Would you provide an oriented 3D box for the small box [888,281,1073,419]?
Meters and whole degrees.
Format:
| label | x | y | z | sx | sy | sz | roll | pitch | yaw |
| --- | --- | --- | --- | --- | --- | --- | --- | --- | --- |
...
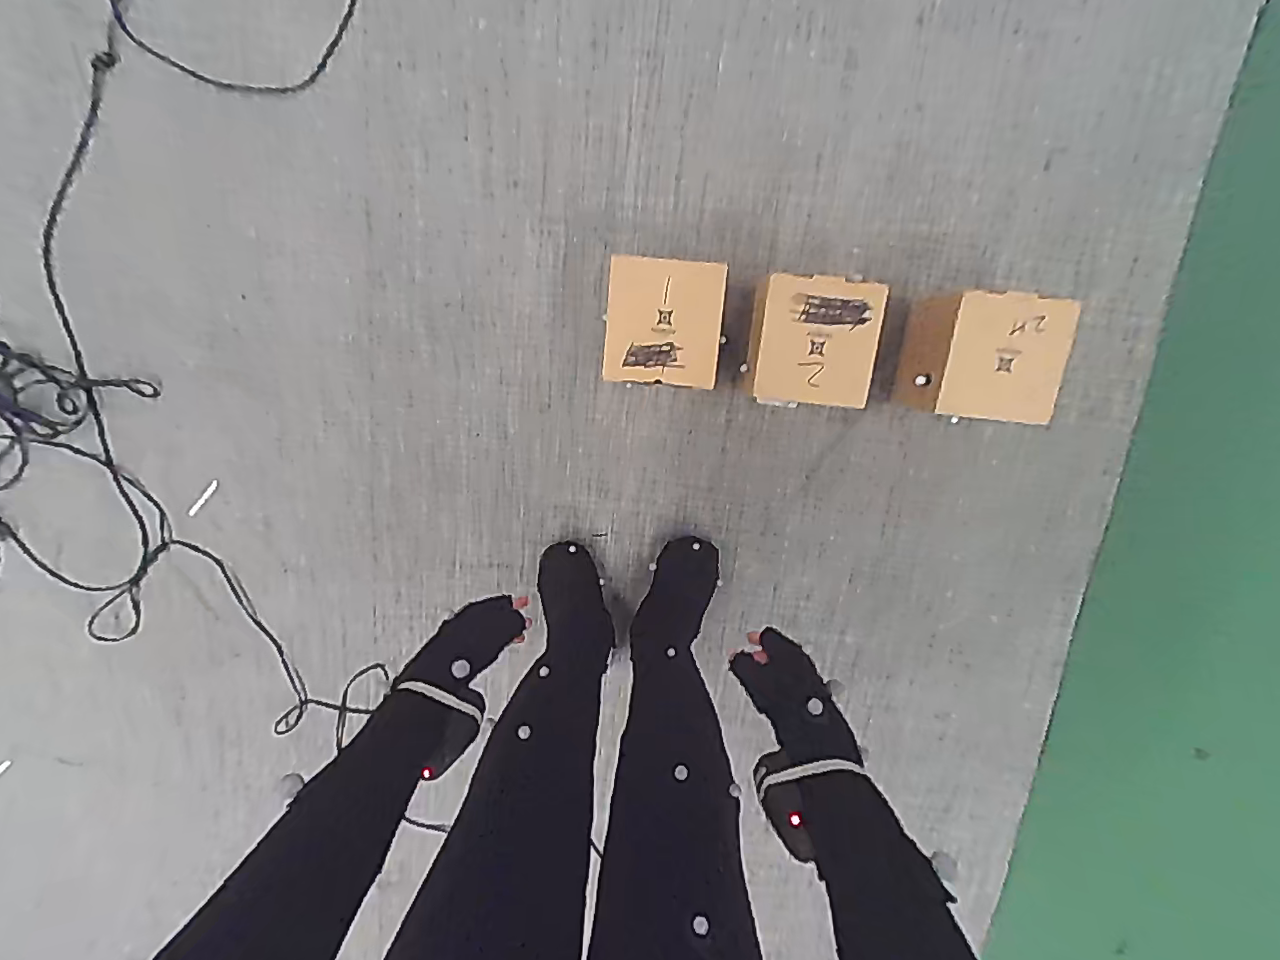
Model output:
| label | x | y | z | sx | sy | sz | roll | pitch | yaw |
| --- | --- | --- | --- | --- | --- | --- | --- | --- | --- |
| small box | 0.508 | -0.199 | 0.839 | 0.168 | 0.176 | 0.179 | 6 | 103 | 1 |

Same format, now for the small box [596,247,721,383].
| label | x | y | z | sx | sy | sz | roll | pitch | yaw |
| --- | --- | --- | --- | --- | --- | --- | --- | --- | --- |
| small box | 0.030 | -0.251 | 0.849 | 0.168 | 0.176 | 0.179 | 6 | 102 | 2 |
